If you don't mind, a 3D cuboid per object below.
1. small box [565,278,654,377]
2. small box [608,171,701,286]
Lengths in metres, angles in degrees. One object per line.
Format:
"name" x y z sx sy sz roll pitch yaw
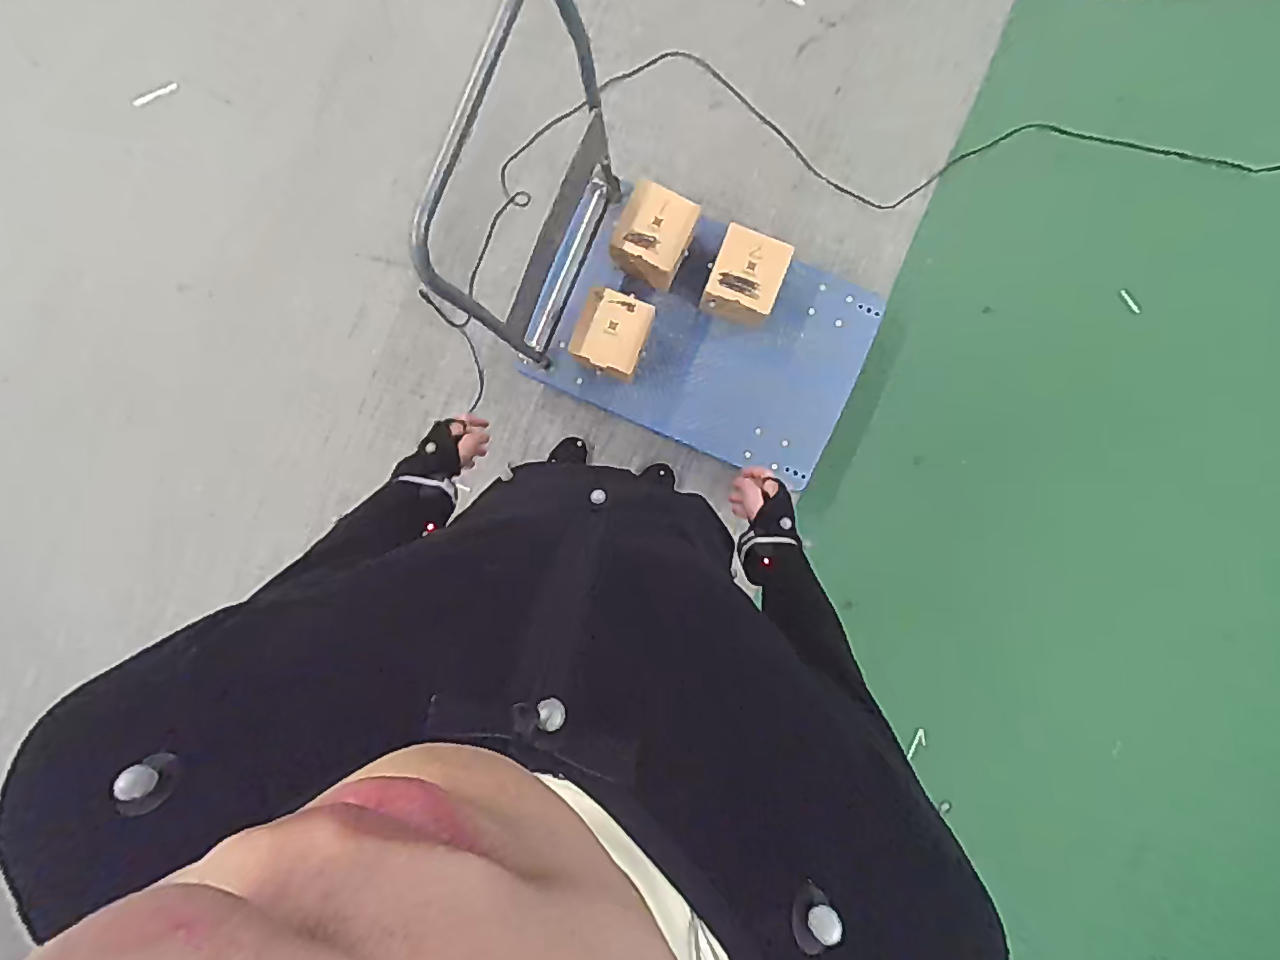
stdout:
"small box" -0.072 -0.373 1.358 0.168 0.176 0.179 21 94 -3
"small box" 0.034 -0.613 1.345 0.168 0.176 0.179 26 92 -3
